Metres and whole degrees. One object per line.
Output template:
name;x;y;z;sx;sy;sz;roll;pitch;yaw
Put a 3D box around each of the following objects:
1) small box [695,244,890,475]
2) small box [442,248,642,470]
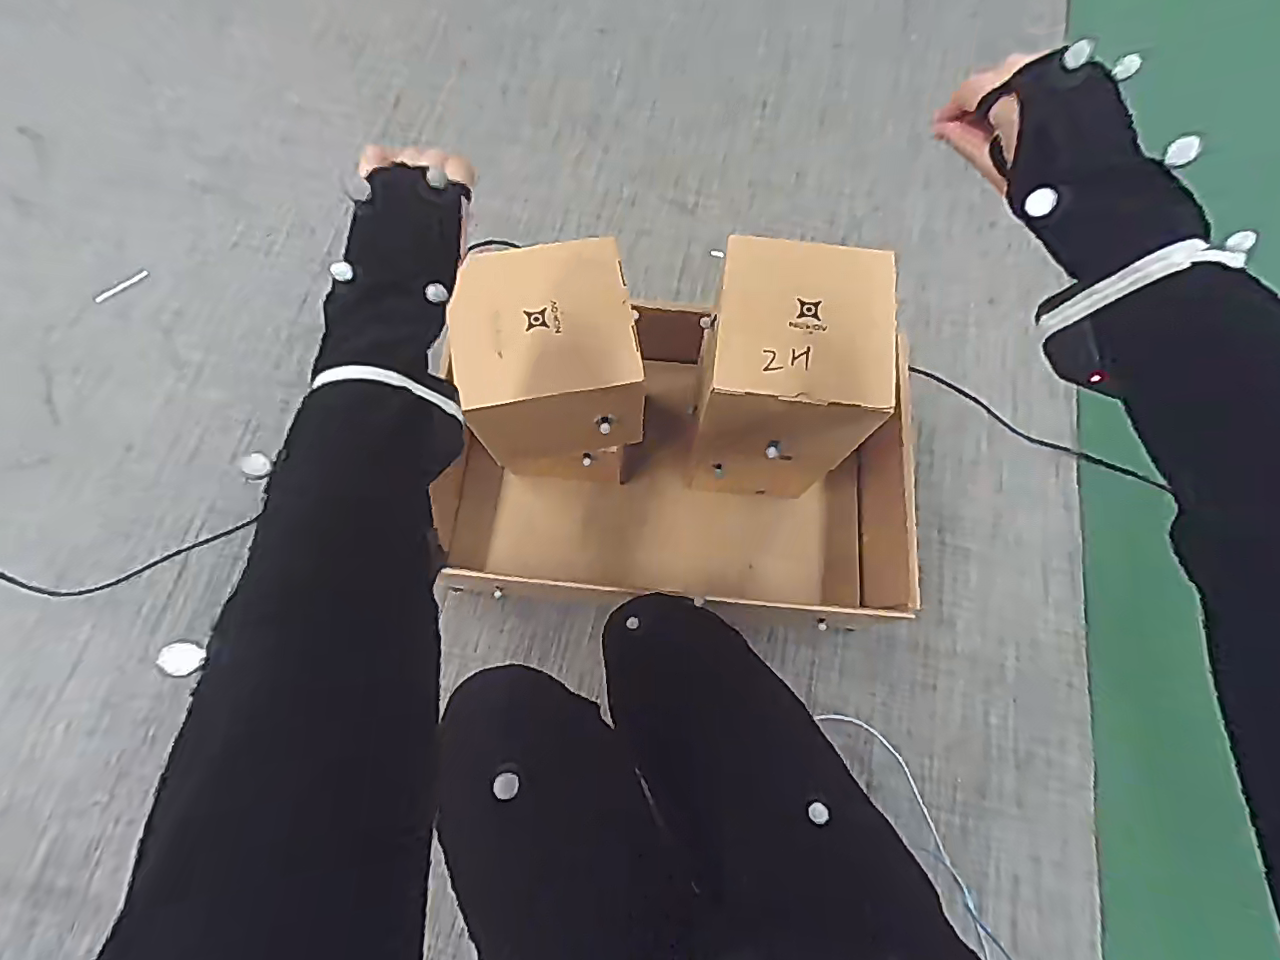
small box;0.154;-0.120;0.587;0.168;0.176;0.179;7;74;3
small box;-0.098;-0.121;0.592;0.179;0.176;0.168;-10;74;-3
